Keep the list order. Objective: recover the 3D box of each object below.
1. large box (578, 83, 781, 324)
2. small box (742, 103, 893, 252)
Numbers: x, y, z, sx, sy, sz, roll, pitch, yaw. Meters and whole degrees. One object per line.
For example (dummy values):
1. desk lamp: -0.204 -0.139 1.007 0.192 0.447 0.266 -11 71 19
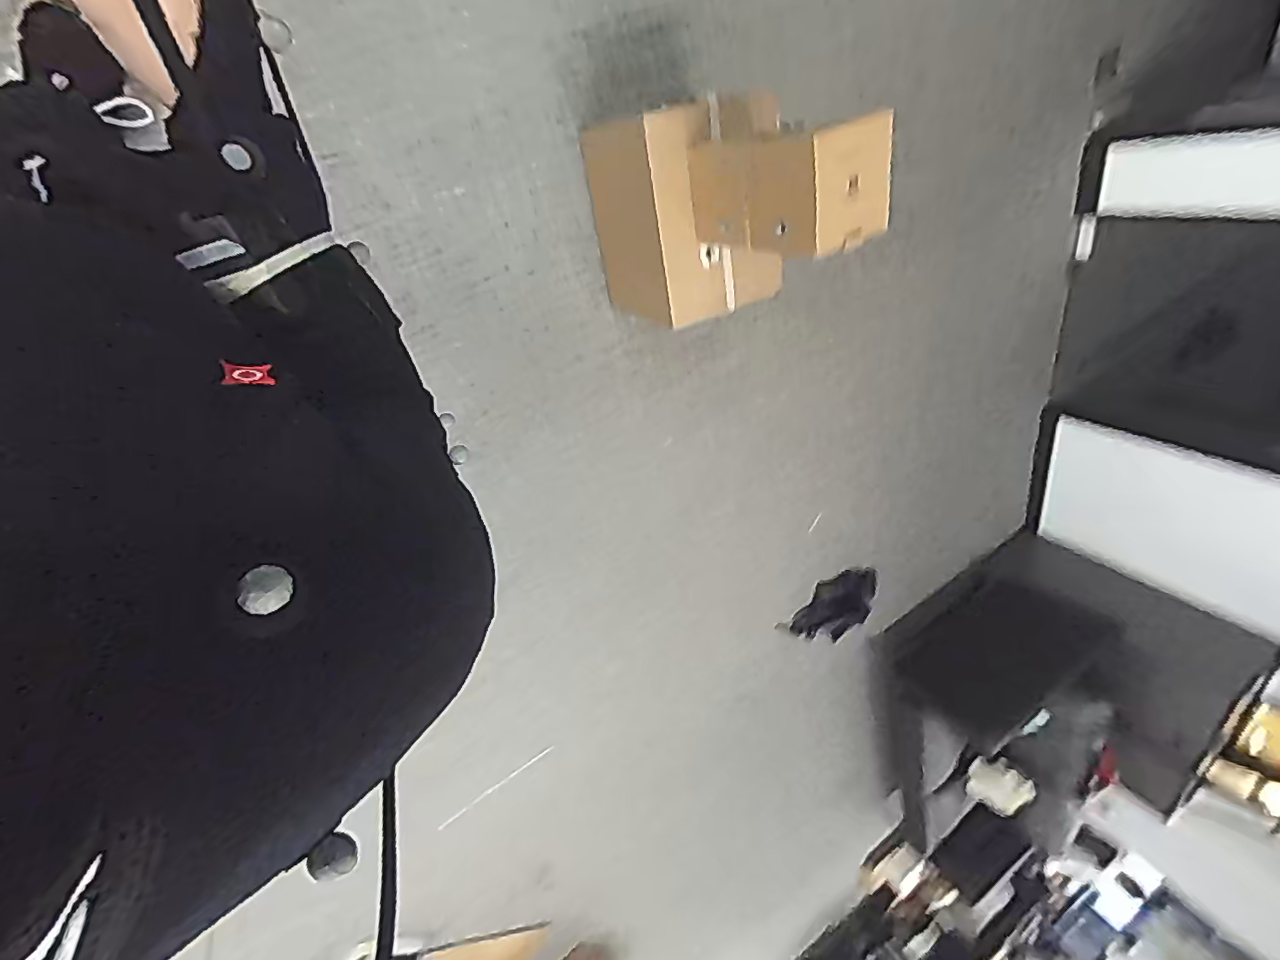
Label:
1. large box: 0.095 -0.624 1.238 0.320 0.320 0.408 -24 125 -18
2. small box: 0.290 -0.499 0.899 0.168 0.176 0.179 -28 125 -18
